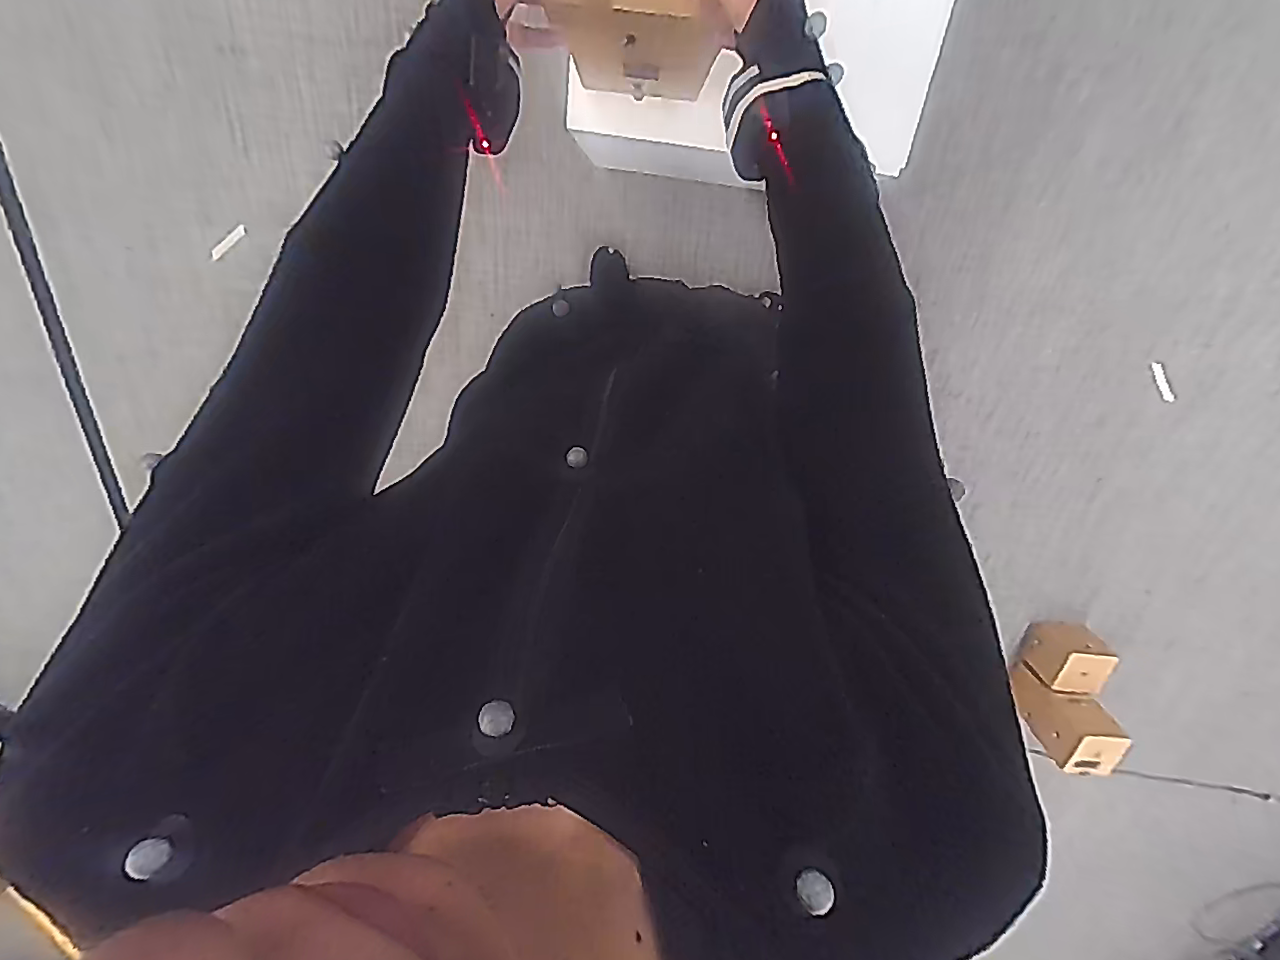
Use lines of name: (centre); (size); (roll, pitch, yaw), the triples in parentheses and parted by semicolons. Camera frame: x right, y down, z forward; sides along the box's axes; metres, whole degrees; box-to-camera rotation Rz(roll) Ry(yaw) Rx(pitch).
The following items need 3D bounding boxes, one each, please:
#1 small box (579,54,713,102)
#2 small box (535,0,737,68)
small box: (0.009, -0.589, 0.656); (0.168, 0.176, 0.179); (5, 115, -2)
small box: (0.002, -0.511, 0.508); (0.179, 0.176, 0.168); (4, 116, -1)
